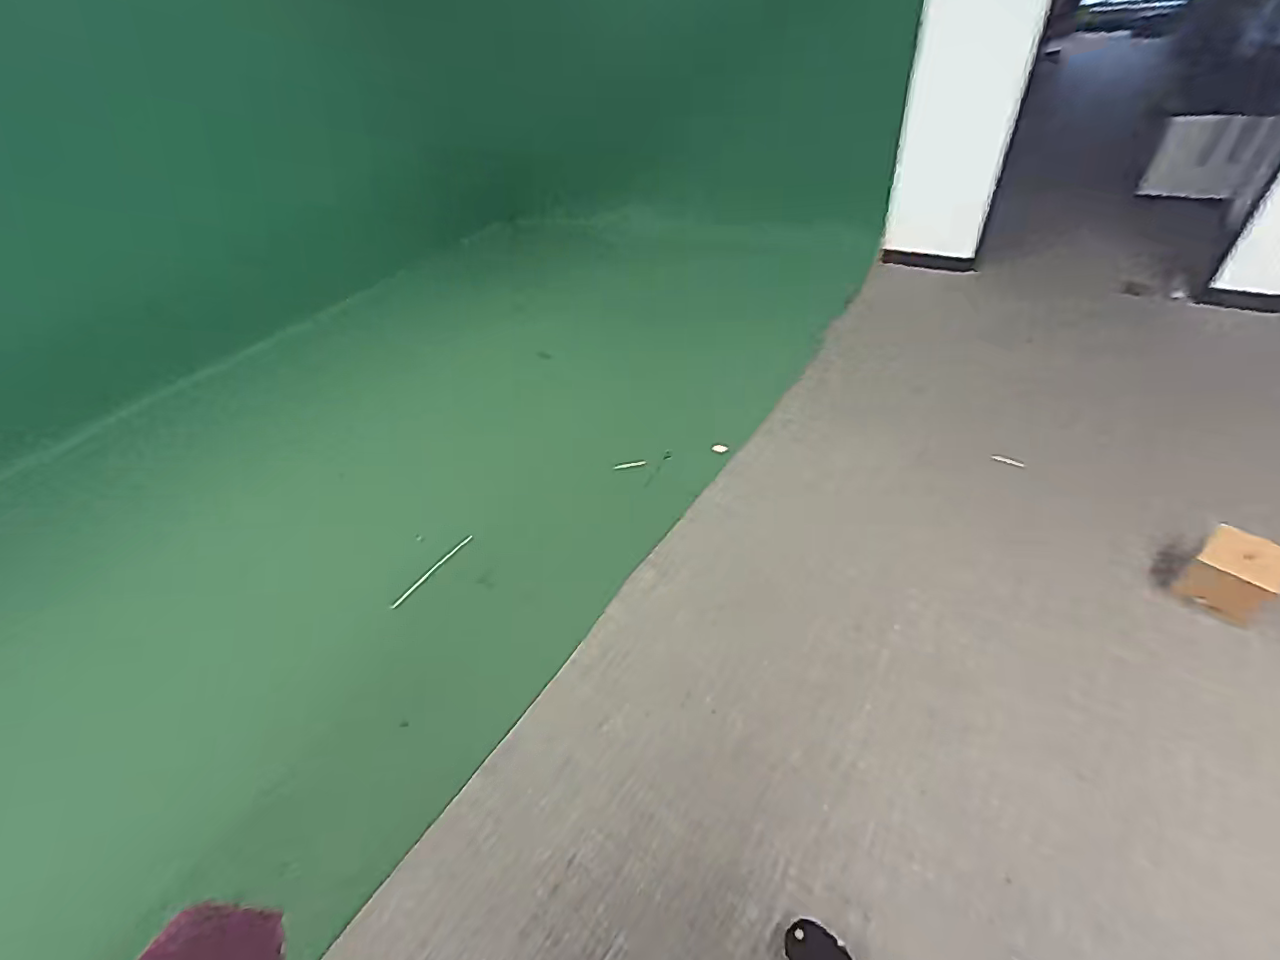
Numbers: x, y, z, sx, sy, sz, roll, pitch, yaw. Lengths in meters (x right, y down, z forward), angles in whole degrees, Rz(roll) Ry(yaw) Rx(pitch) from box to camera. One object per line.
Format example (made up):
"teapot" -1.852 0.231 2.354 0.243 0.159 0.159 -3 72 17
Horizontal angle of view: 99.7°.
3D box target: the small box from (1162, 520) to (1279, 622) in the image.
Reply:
"small box" 1.595 0.249 1.483 0.179 0.176 0.168 -35 49 -24
